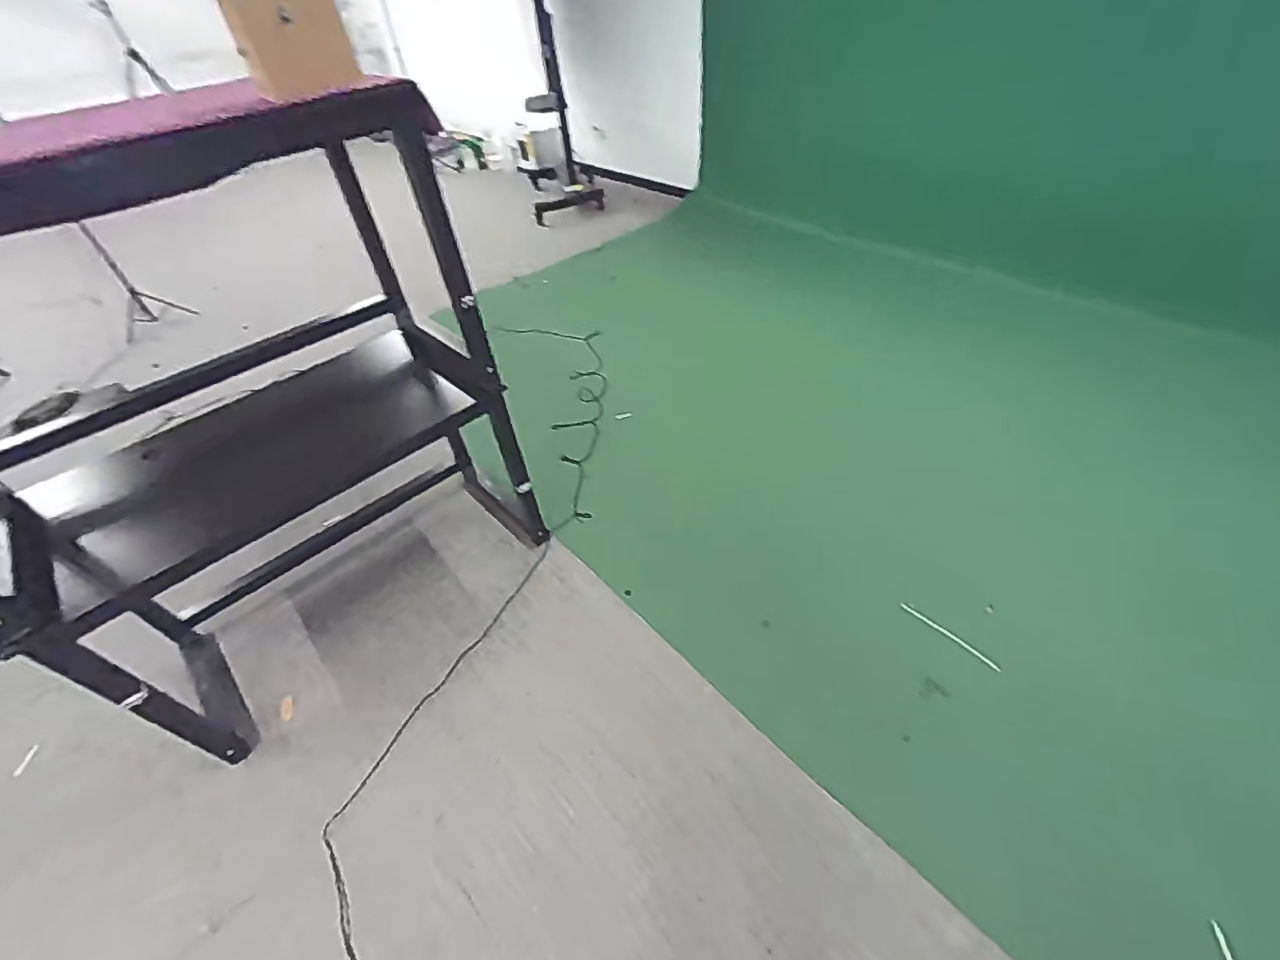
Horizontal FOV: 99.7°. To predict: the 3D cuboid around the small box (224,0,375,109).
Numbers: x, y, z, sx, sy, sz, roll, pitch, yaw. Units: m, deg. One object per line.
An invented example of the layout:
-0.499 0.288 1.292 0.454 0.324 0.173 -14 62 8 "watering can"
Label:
-0.654 -0.841 1.048 0.179 0.176 0.168 -32 51 -22 "small box"
